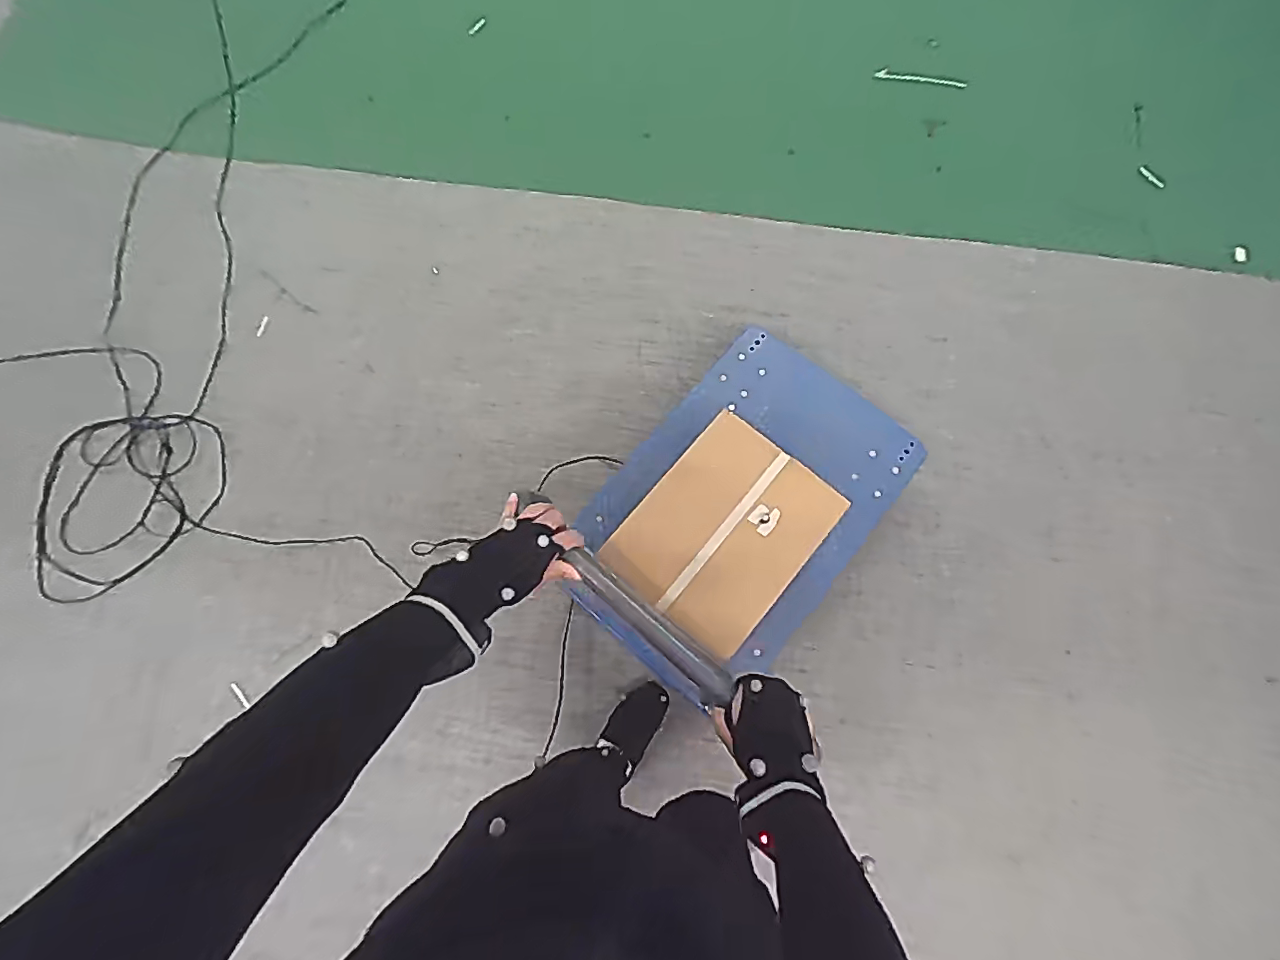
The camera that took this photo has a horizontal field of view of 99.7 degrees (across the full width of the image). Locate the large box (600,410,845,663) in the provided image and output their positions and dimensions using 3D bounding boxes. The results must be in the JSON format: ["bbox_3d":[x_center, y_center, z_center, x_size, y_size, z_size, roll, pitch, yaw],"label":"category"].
[{"bbox_3d":[0.161,0.136,1.179,0.320,0.320,0.408,40,78,10],"label":"large box"}]
